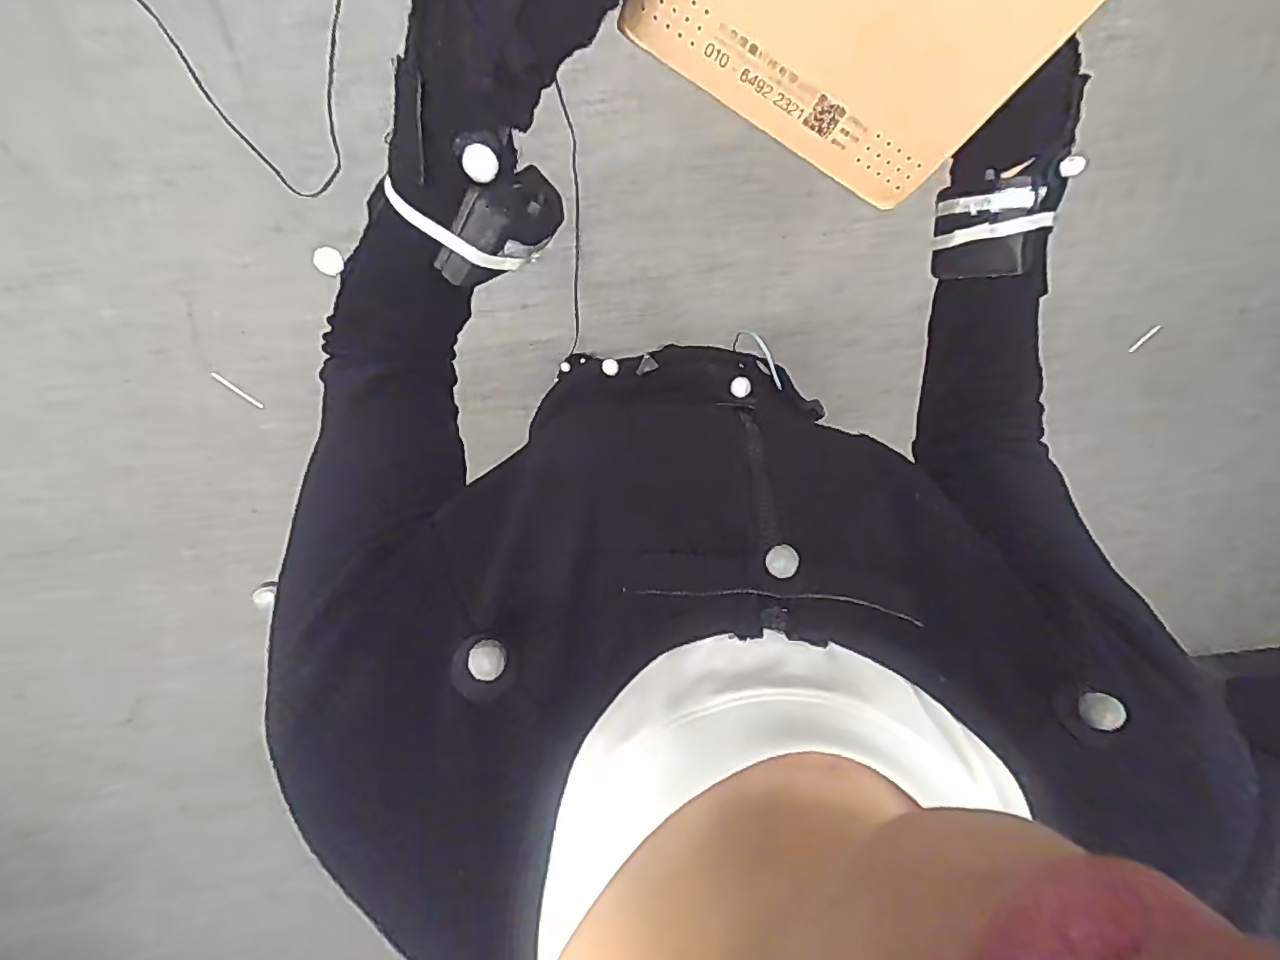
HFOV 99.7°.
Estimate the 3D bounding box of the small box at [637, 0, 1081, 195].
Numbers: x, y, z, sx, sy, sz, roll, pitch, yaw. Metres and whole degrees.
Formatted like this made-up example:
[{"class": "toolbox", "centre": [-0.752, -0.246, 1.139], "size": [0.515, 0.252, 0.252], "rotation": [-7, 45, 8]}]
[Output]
[{"class": "small box", "centre": [0.115, -0.282, 0.249], "size": [0.168, 0.176, 0.179], "rotation": [25, 58, -13]}]
